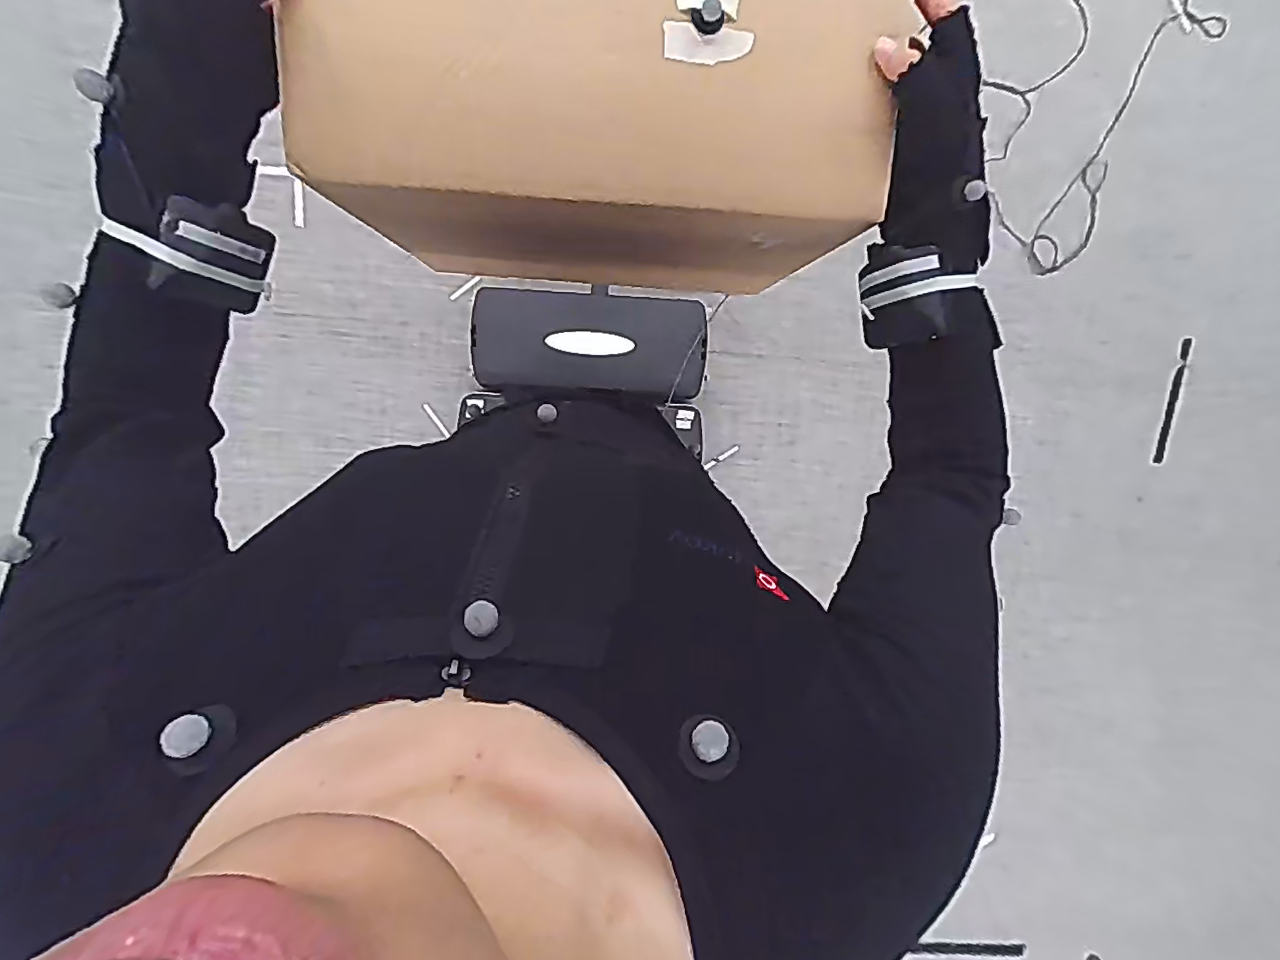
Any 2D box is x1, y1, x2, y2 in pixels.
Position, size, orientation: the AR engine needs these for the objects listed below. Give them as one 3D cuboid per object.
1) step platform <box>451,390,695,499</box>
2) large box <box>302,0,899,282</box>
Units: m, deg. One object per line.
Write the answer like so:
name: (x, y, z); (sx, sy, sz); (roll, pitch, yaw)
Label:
step platform: (-0.184, -0.101, 1.558); (0.684, 0.204, 0.286); (2, 98, -2)
large box: (-0.031, -0.377, 0.500); (0.408, 0.320, 0.320); (1, 101, -5)
